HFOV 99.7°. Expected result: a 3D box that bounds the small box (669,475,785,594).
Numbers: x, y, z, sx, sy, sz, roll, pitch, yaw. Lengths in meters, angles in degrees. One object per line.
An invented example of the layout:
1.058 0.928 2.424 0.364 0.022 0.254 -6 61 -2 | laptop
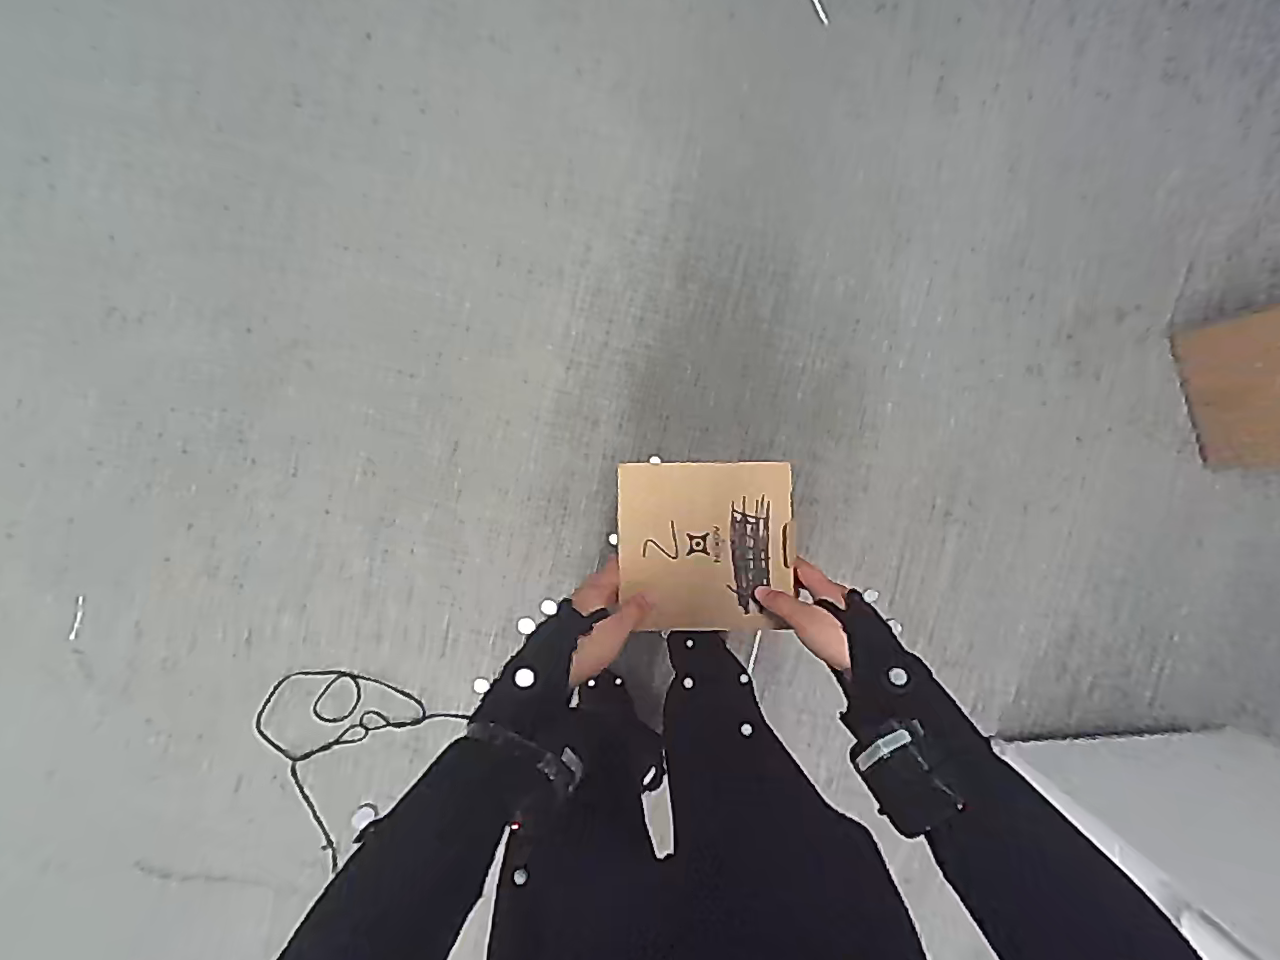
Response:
0.147 0.090 0.976 0.168 0.176 0.179 9 91 -1 | small box
